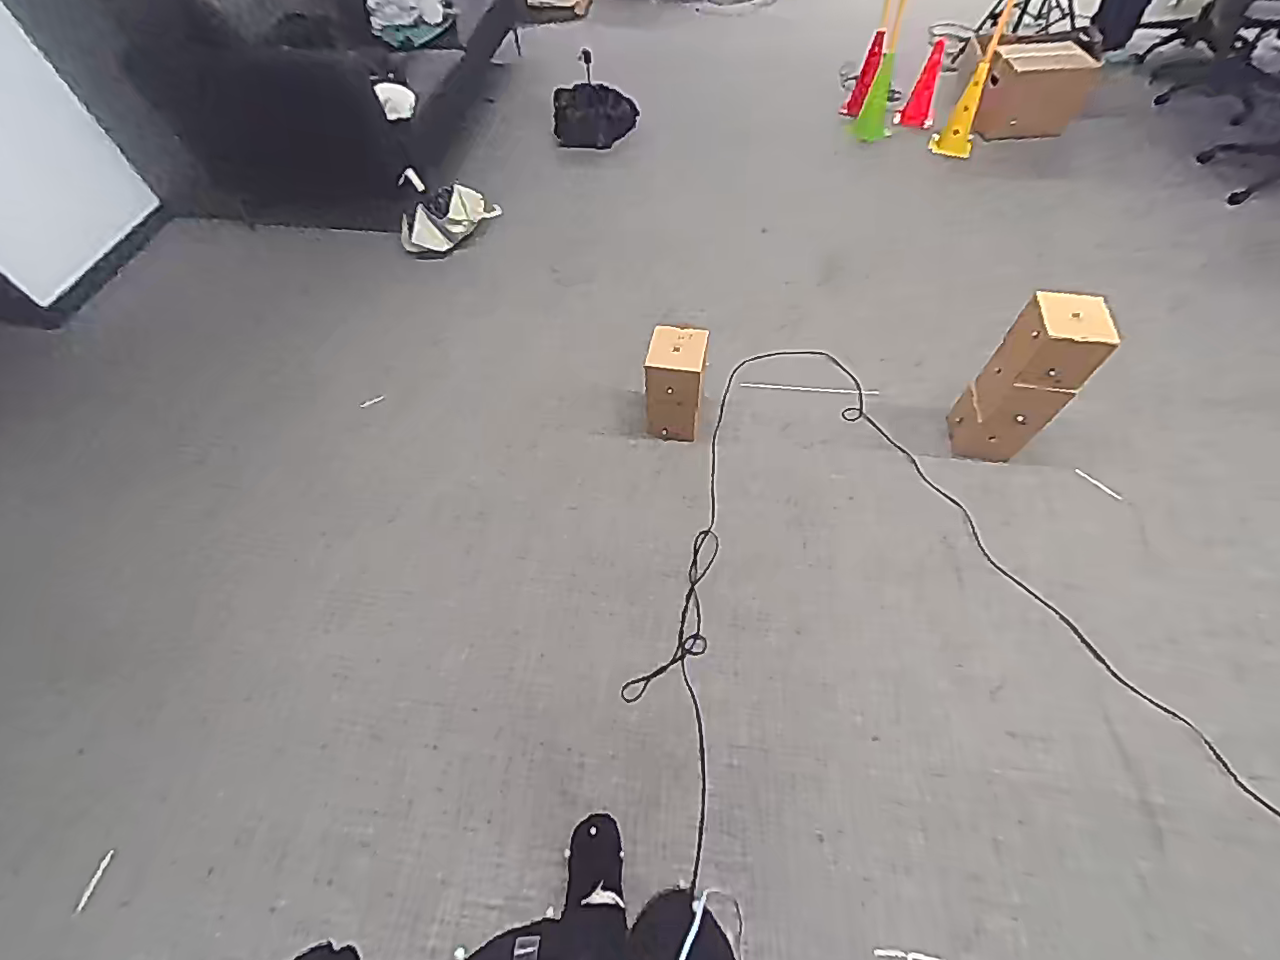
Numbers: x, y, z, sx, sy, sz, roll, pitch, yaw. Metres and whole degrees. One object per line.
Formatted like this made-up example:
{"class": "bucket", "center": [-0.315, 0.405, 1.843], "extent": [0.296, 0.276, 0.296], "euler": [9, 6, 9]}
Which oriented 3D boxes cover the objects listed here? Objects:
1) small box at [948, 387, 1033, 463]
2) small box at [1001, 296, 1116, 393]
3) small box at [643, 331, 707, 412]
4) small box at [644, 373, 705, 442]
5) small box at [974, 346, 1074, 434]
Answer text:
{"class": "small box", "center": [1.093, -0.171, 1.700], "extent": [0.179, 0.176, 0.168], "euler": [7, 57, 7]}
{"class": "small box", "center": [1.092, -0.358, 1.431], "extent": [0.168, 0.176, 0.179], "euler": [8, 58, 7]}
{"class": "small box", "center": [0.109, -0.329, 1.655], "extent": [0.168, 0.176, 0.179], "euler": [8, 57, 9]}
{"class": "small box", "center": [0.113, -0.252, 1.781], "extent": [0.168, 0.176, 0.179], "euler": [10, 57, 10]}
{"class": "small box", "center": [1.095, -0.261, 1.562], "extent": [0.168, 0.176, 0.179], "euler": [8, 58, 7]}
